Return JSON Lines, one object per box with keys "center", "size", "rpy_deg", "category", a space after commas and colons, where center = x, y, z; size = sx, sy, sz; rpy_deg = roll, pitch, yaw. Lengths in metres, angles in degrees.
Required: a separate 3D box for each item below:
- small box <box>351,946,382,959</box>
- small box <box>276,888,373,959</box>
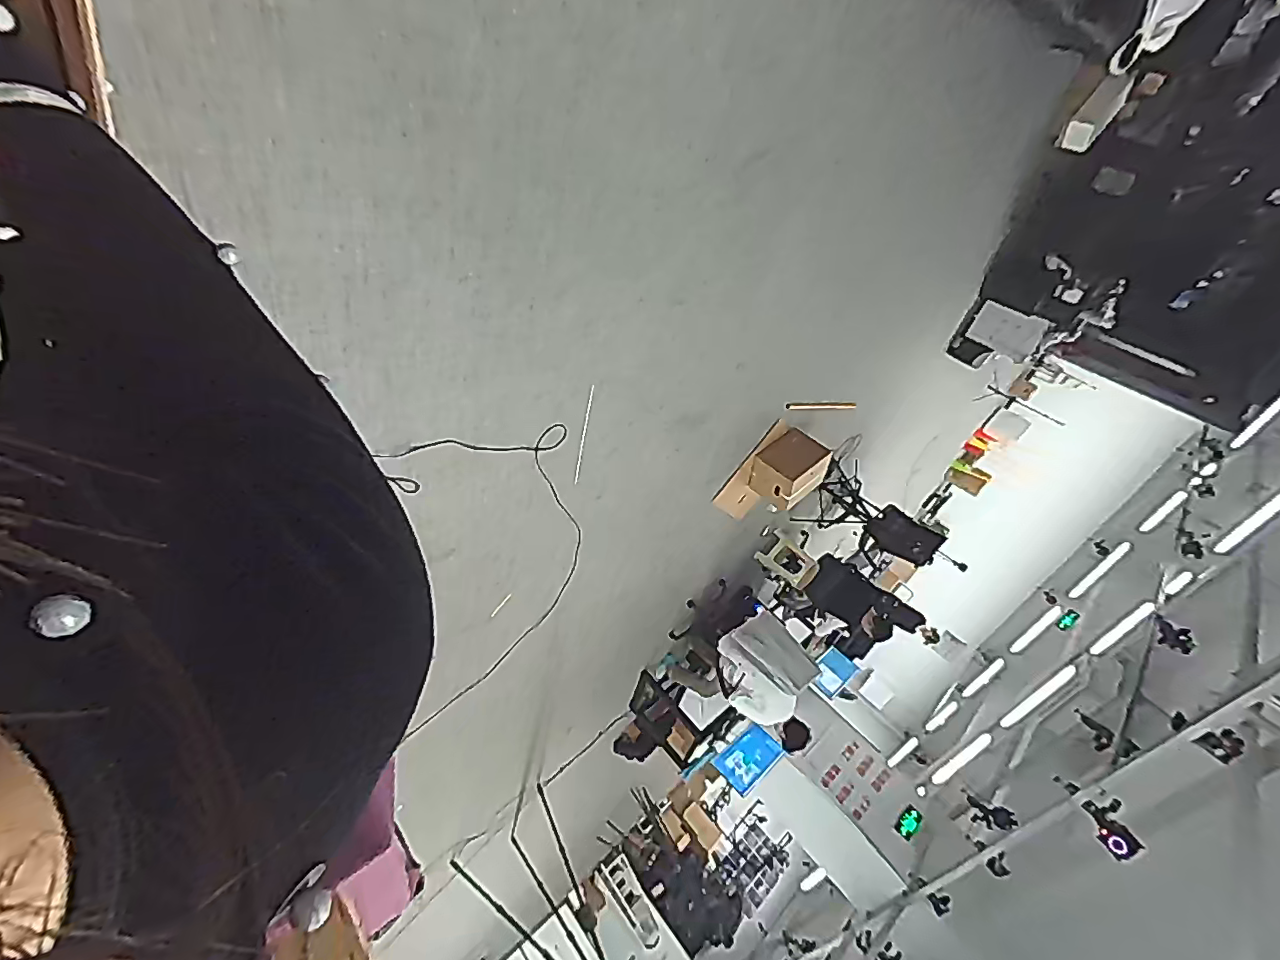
{"center": [-0.708, 1.308, 1.333], "size": [0.179, 0.176, 0.168], "rpy_deg": [-25, 143, -33], "category": "small box"}
{"center": [-0.818, 1.215, 1.409], "size": [0.168, 0.176, 0.179], "rpy_deg": [-25, 144, -35], "category": "small box"}
